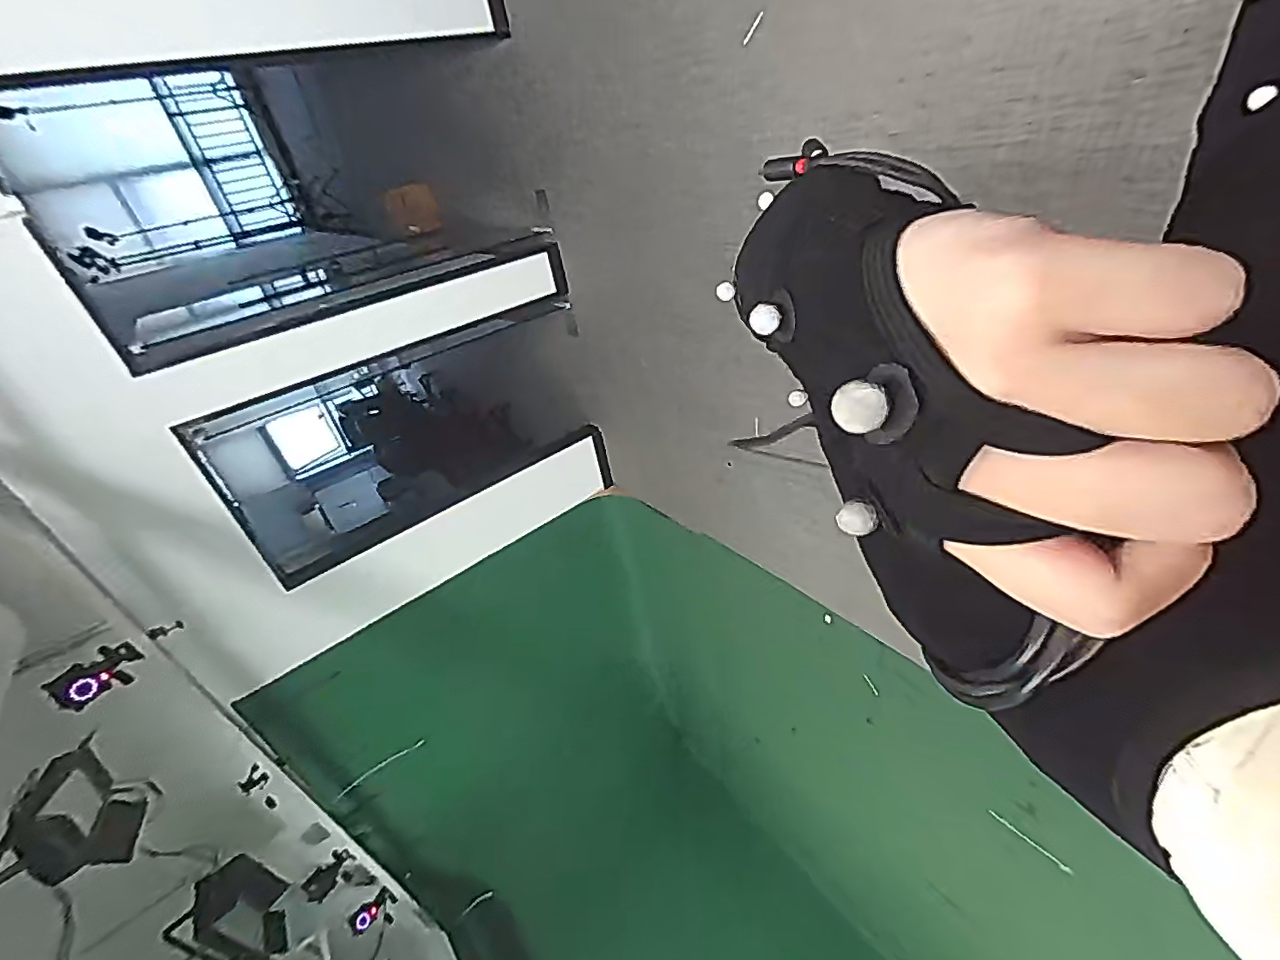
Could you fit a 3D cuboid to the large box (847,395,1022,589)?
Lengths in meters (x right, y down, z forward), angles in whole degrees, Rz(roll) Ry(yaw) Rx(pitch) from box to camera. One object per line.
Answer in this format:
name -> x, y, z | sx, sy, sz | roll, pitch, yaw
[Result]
large box -> 0.808, 0.011, 1.479 | 0.320, 0.320, 0.408 | 19, 132, 51
